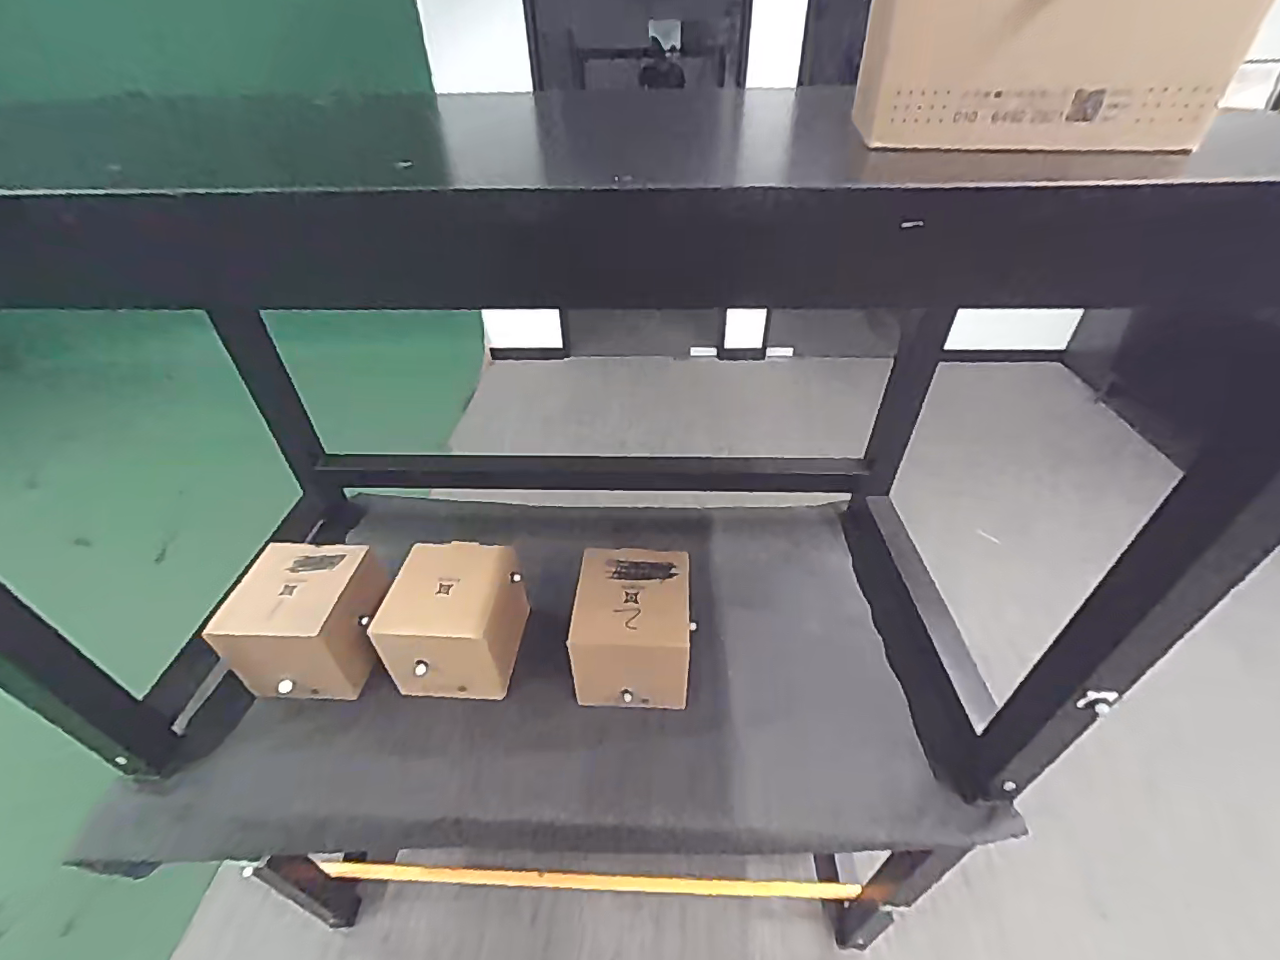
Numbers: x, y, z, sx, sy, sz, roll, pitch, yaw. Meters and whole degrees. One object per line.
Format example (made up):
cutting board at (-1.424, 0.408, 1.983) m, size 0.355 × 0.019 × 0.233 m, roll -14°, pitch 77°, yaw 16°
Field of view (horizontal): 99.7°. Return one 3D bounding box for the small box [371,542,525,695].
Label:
small box at (-0.289, 0.221, 0.861) m, size 0.168 × 0.176 × 0.179 m, roll 2°, pitch 38°, yaw 3°

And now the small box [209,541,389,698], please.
small box at (-0.516, 0.219, 0.862) m, size 0.168 × 0.176 × 0.179 m, roll 1°, pitch 39°, yaw 2°

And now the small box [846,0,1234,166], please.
small box at (0.230, -0.298, 0.327) m, size 0.168 × 0.176 × 0.179 m, roll 8°, pitch 39°, yaw 11°
